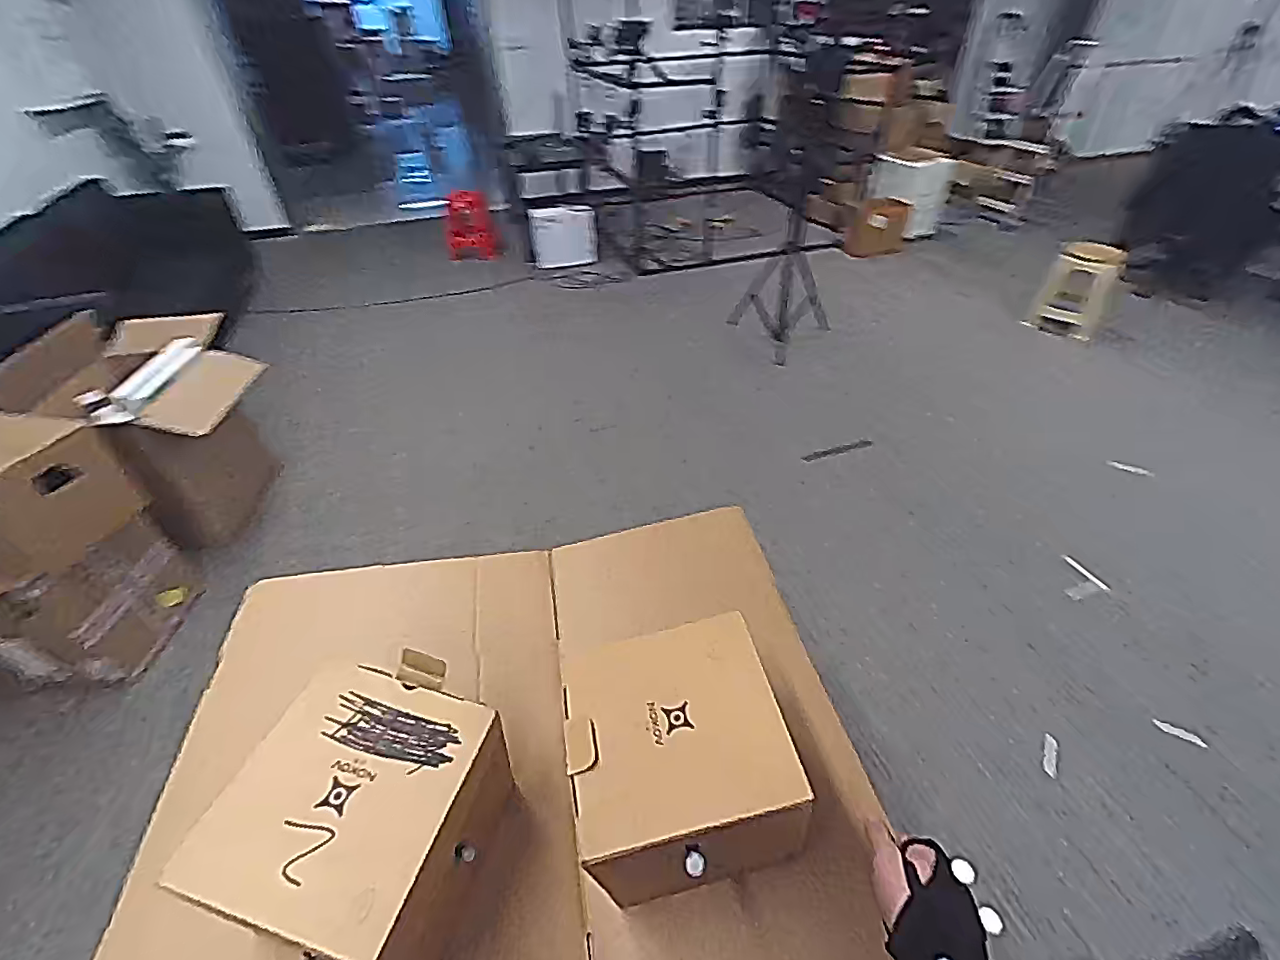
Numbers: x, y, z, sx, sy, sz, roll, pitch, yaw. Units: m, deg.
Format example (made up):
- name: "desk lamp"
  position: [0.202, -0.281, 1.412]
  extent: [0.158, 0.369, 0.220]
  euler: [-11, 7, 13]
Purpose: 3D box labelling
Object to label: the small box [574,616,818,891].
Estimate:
- name: "small box"
  position: [0.047, 0.259, 0.513]
  extent: [0.179, 0.176, 0.168]
  euler: [-14, 43, -2]
